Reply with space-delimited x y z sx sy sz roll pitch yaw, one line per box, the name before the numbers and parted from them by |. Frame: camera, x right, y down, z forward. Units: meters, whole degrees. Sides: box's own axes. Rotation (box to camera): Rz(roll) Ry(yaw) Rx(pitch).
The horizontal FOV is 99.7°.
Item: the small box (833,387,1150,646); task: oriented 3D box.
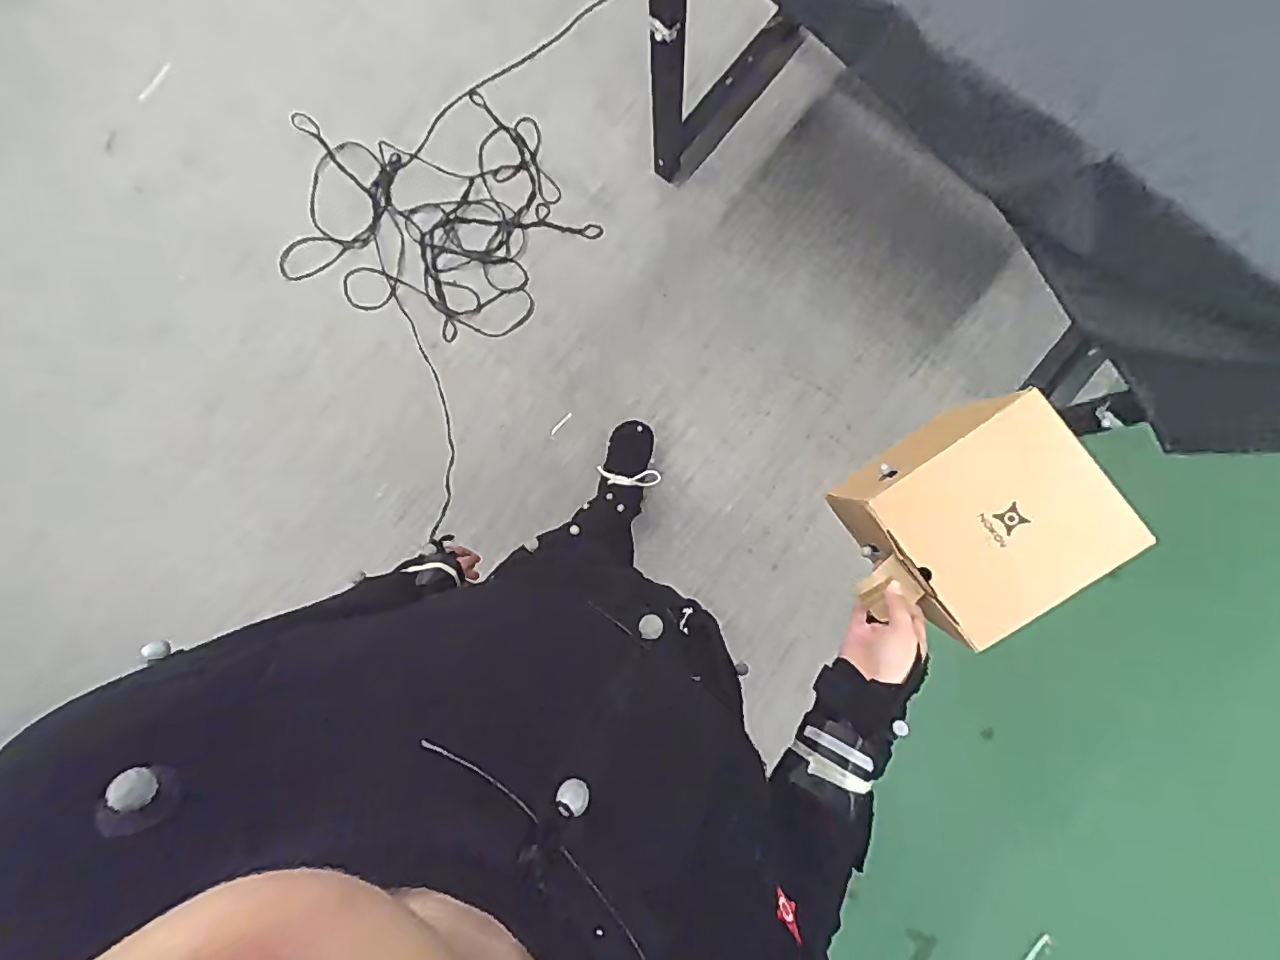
small box | 0.329 0.030 0.550 0.179 0.176 0.168 -36 87 6
